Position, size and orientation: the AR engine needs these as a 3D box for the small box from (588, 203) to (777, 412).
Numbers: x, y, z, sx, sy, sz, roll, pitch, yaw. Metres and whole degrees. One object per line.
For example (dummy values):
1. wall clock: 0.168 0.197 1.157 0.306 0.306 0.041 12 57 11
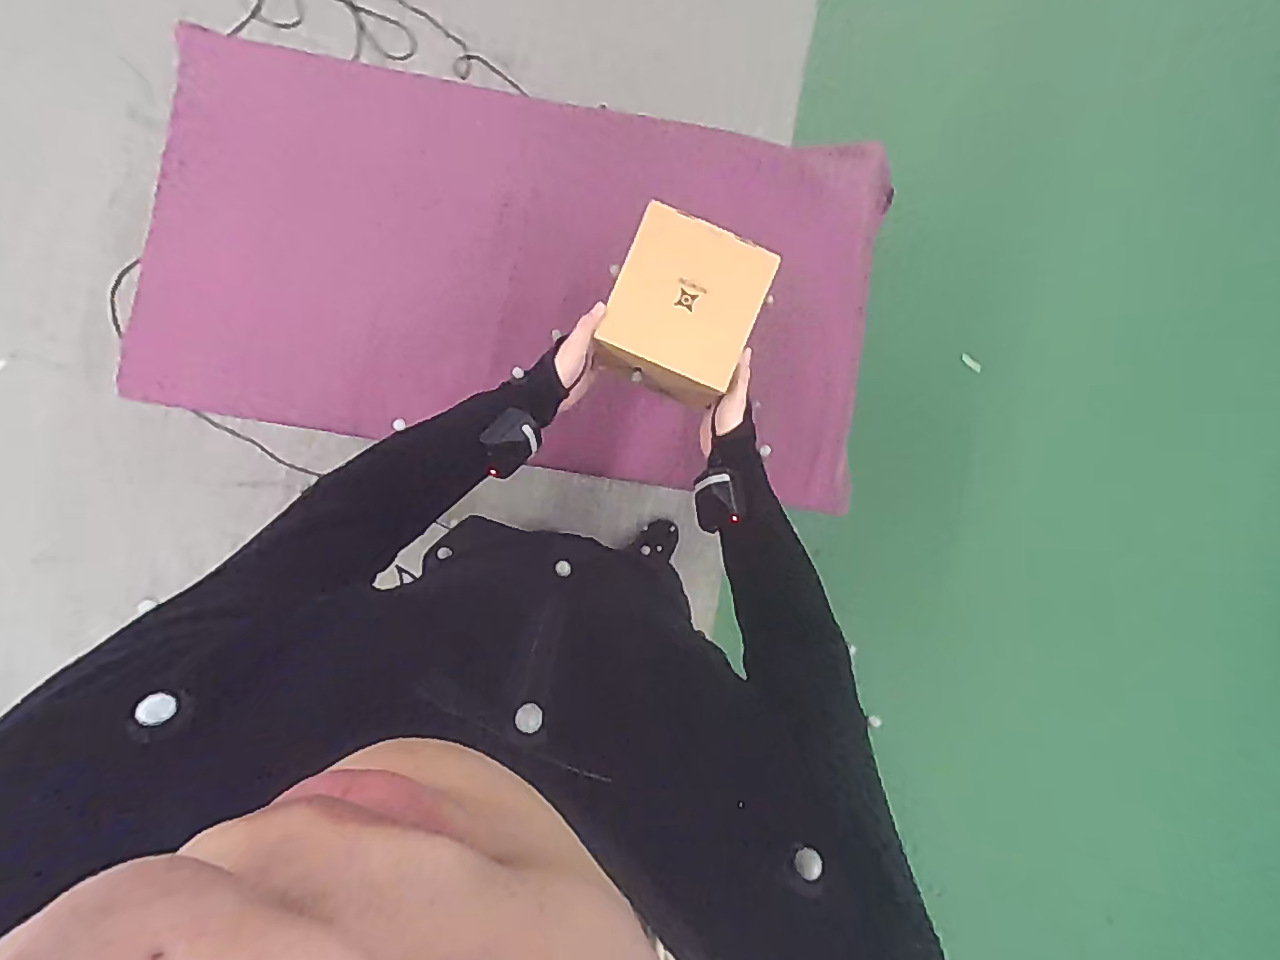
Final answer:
1. small box: 0.046 -0.200 0.687 0.168 0.176 0.179 23 88 -3
